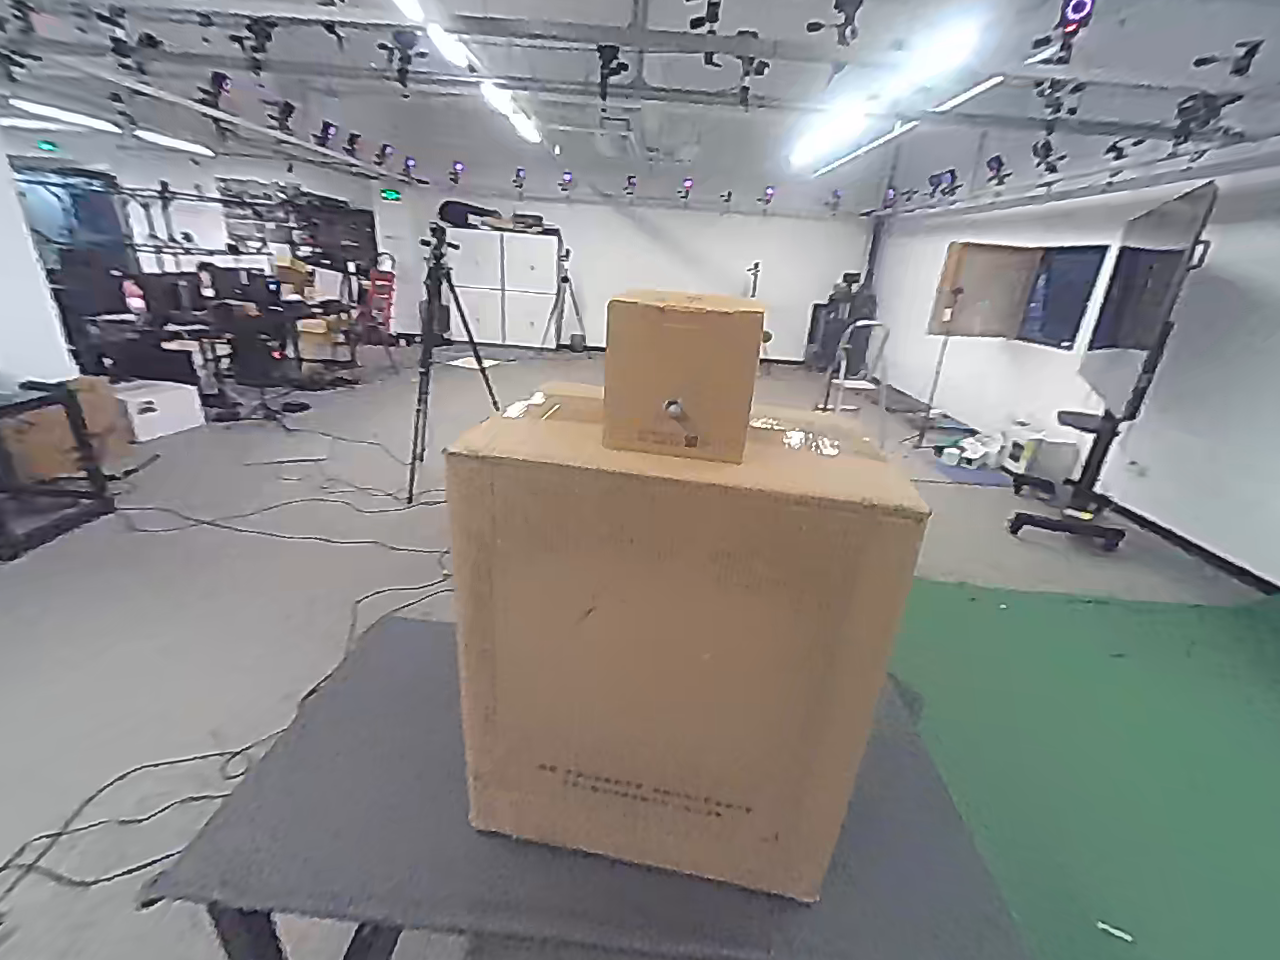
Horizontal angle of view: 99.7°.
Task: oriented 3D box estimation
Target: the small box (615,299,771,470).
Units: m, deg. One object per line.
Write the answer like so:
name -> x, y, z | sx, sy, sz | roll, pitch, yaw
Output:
small box -> 0.066, -0.127, 0.682 | 0.168, 0.176, 0.179 | 8, 24, 8
